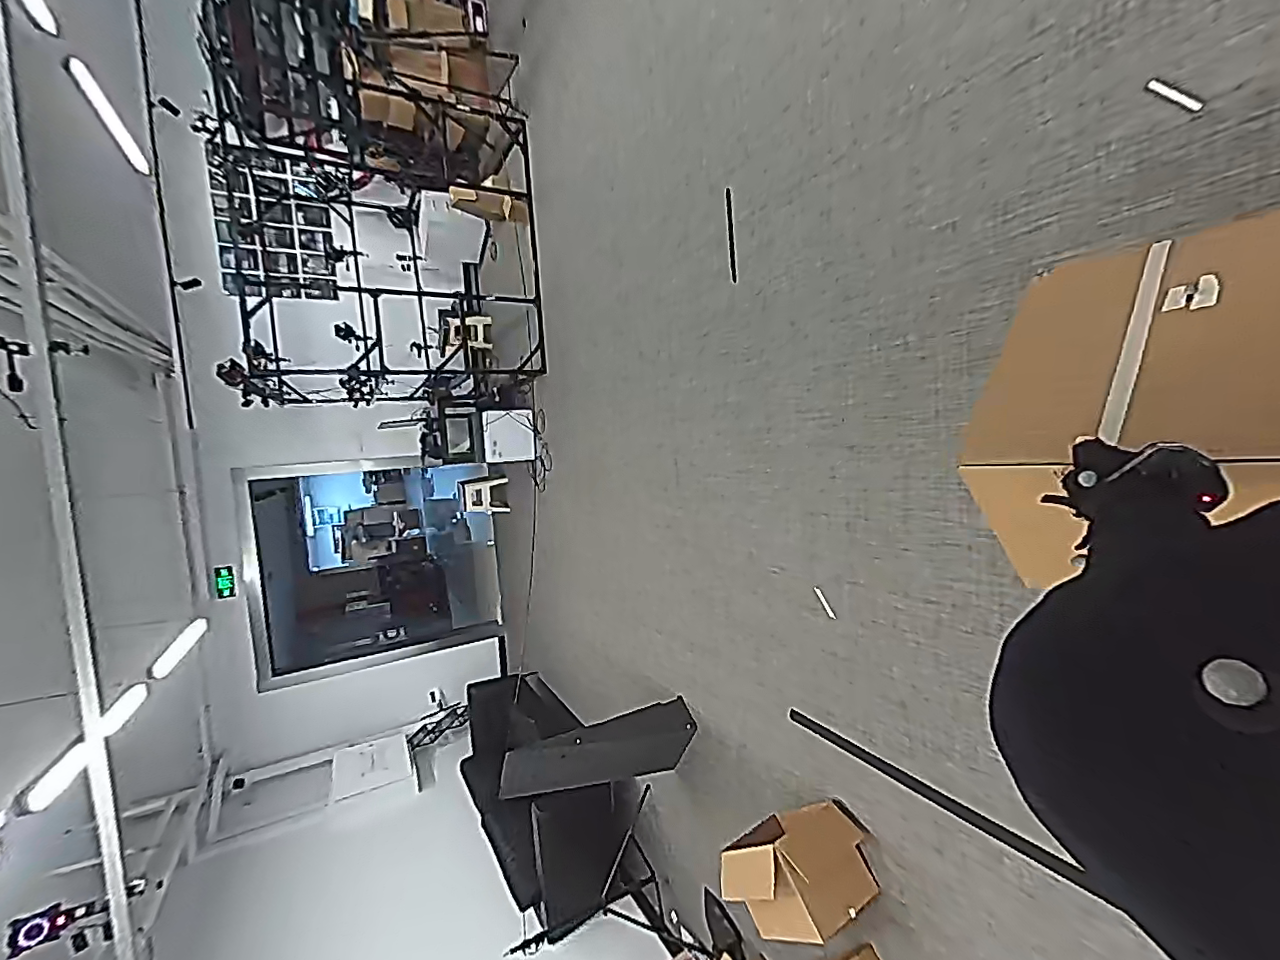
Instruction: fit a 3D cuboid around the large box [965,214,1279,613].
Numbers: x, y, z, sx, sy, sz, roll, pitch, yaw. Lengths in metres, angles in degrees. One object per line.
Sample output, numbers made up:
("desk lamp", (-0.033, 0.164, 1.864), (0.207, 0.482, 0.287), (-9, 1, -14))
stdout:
("large box", (0.729, -0.079, 0.752), (0.320, 0.408, 0.320), (45, 157, -25))
